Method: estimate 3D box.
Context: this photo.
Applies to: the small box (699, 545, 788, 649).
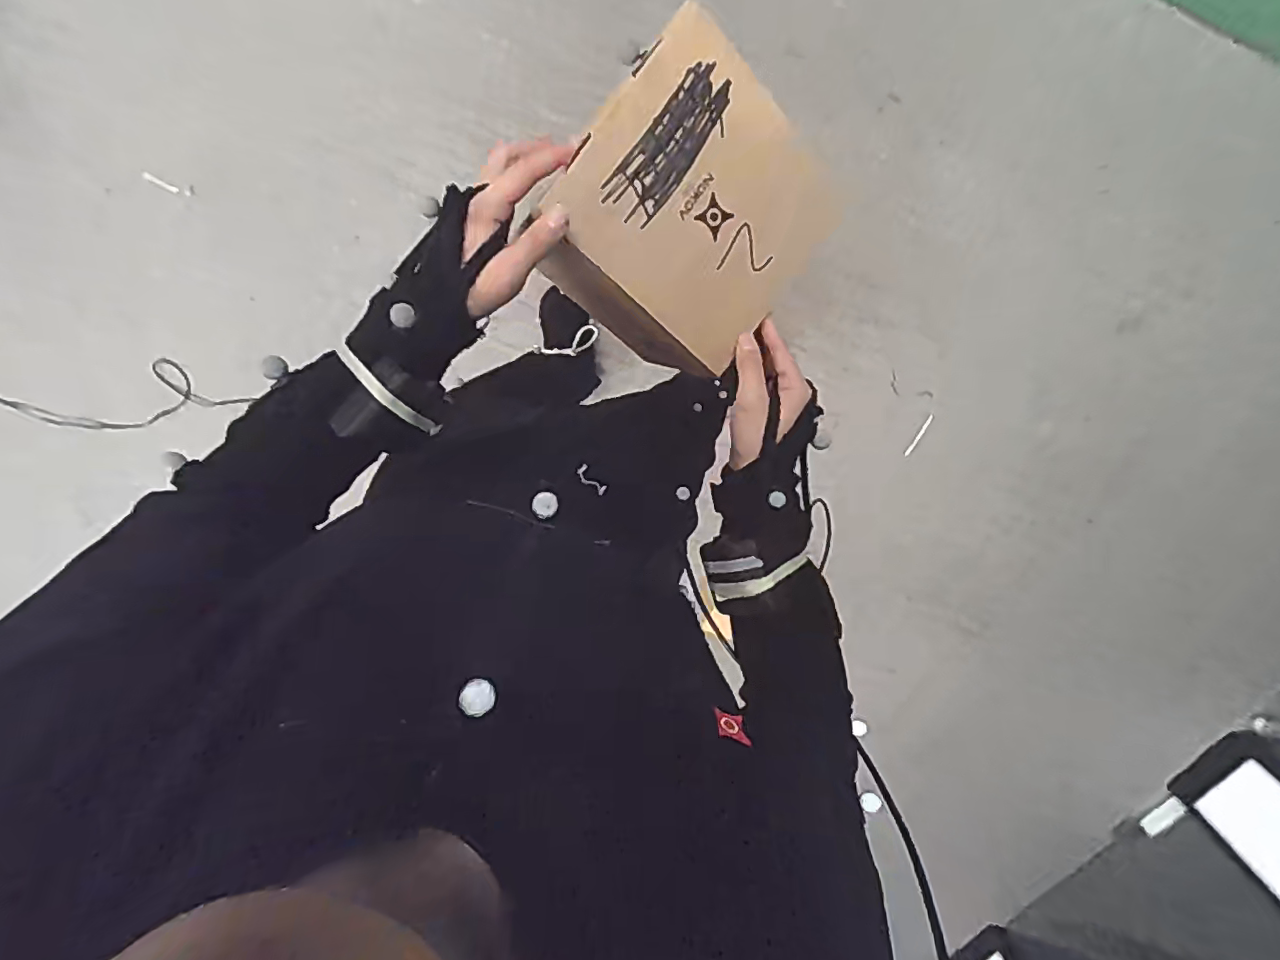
[{"bbox_3d":[0.265,0.305,1.433,0.168,0.176,0.179,23,114,-8],"label":"small box"}]
